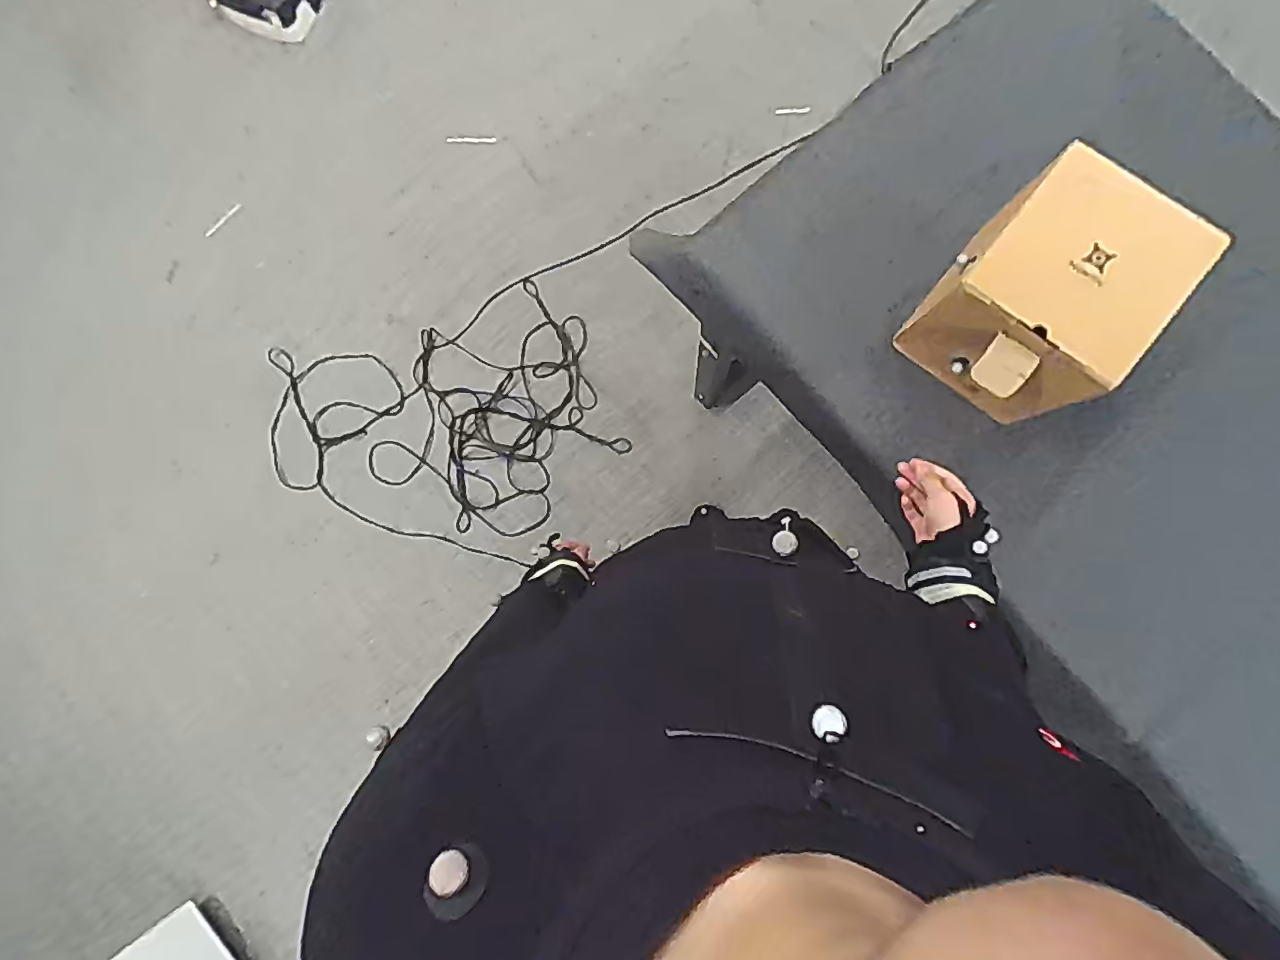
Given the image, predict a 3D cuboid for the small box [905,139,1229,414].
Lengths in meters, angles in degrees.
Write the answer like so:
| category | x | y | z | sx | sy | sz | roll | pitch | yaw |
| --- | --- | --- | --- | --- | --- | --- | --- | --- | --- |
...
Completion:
| category | x | y | z | sx | sy | sz | roll | pitch | yaw |
| --- | --- | --- | --- | --- | --- | --- | --- | --- | --- |
| small box | 0.421 | -0.195 | 0.570 | 0.168 | 0.176 | 0.179 | 38 | 89 | 6 |
